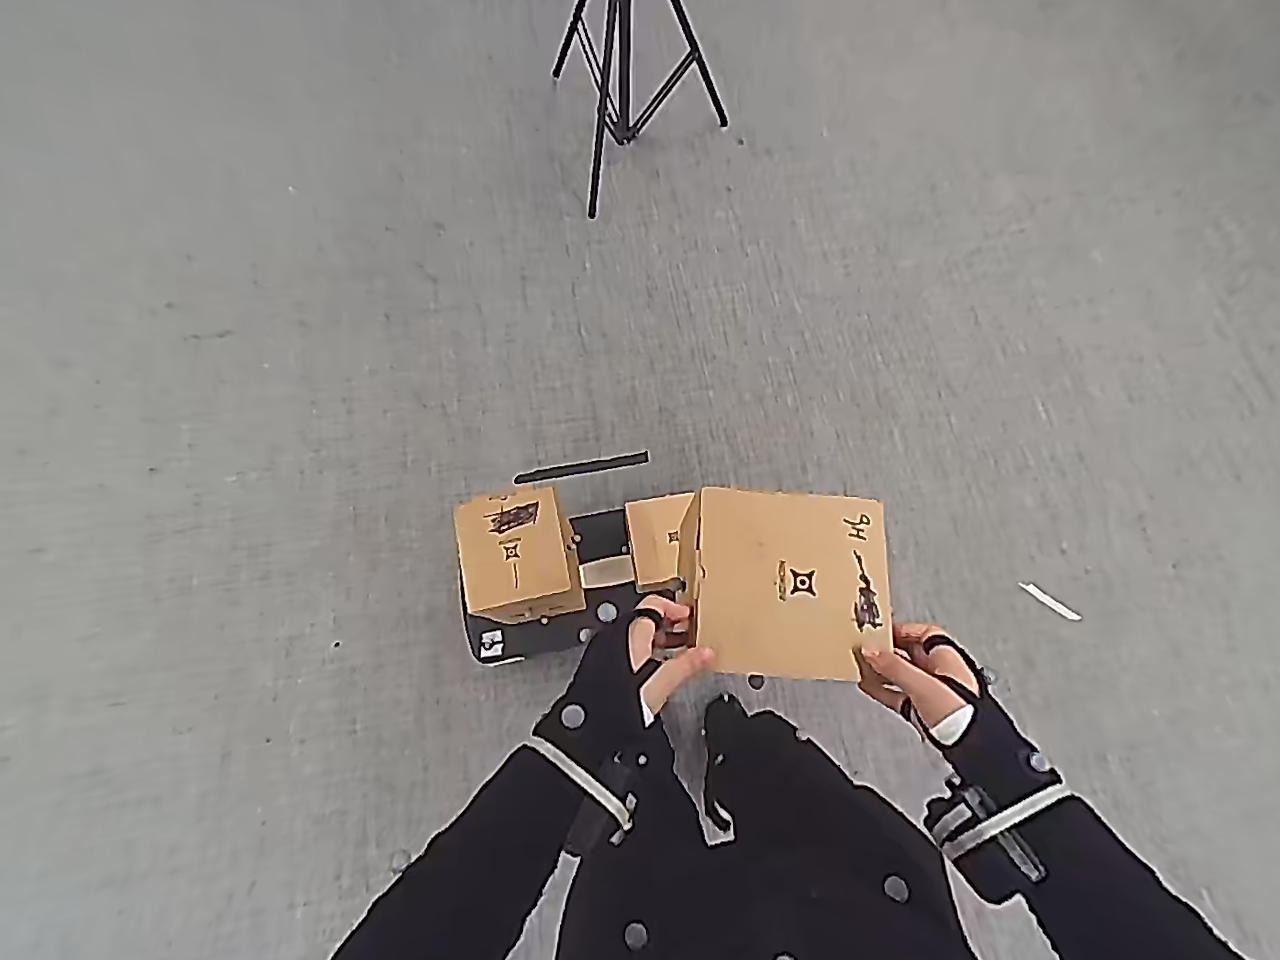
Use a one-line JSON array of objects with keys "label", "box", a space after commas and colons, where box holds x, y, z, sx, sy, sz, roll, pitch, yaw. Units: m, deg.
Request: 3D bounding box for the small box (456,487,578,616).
[{"label": "small box", "box": [-0.207, 0.130, 0.937, 0.168, 0.176, 0.179, -12, 74, -6]}]

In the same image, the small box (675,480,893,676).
[{"label": "small box", "box": [0.131, 0.109, 0.556, 0.179, 0.176, 0.168, 4, 71, -1]}]

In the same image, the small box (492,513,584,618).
[{"label": "small box", "box": [-0.210, 0.182, 1.092, 0.168, 0.176, 0.179, -10, 74, -5]}]

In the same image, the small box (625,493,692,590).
[{"label": "small box", "box": [0.066, 0.131, 1.121, 0.179, 0.176, 0.168, -9, 74, -3]}]
